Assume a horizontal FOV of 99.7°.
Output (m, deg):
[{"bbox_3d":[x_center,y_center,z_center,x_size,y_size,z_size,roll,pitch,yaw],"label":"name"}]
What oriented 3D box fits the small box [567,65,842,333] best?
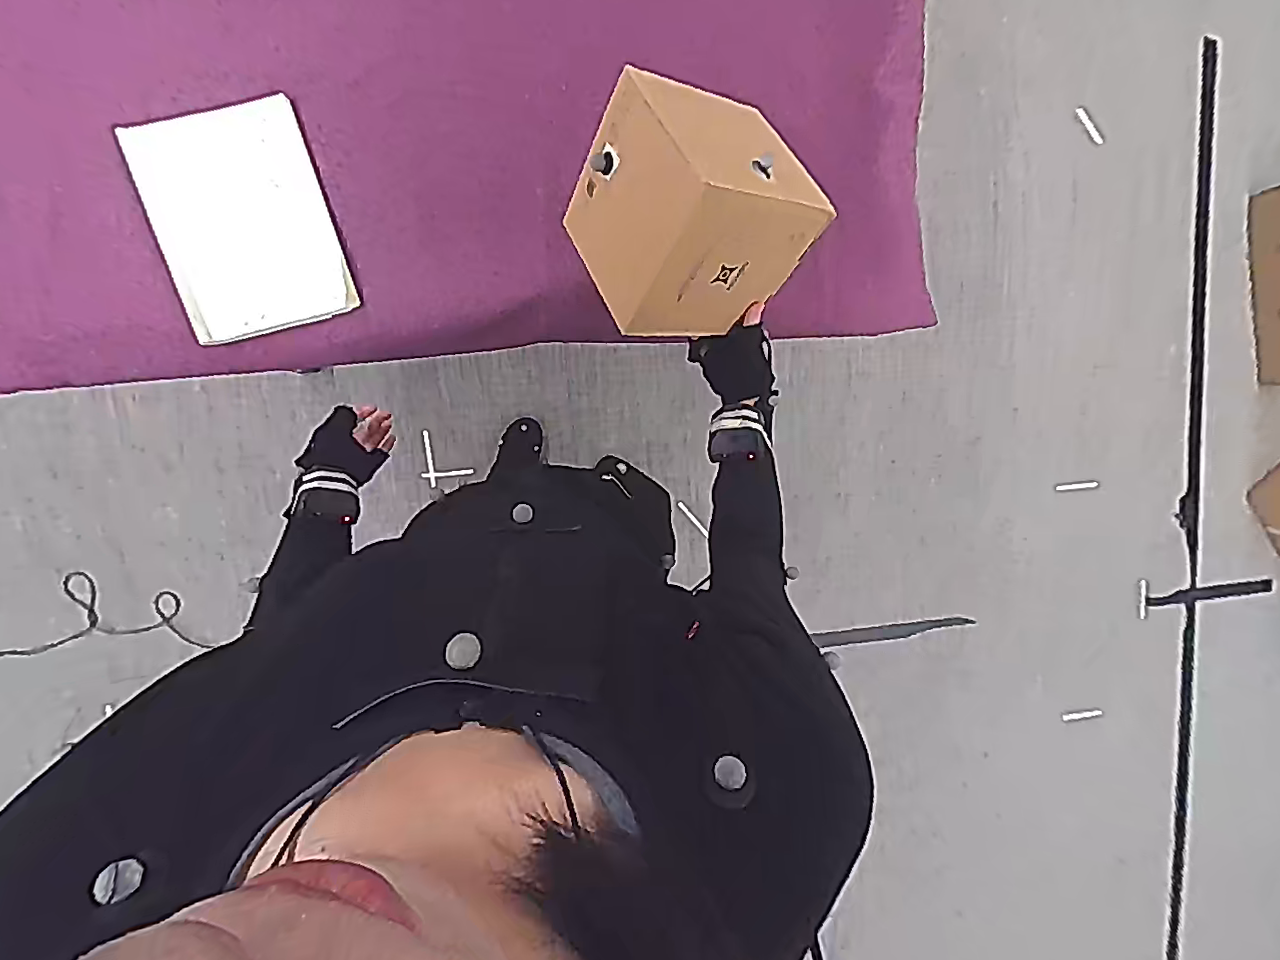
[{"bbox_3d":[0.054,-0.268,0.541,0.179,0.168,0.176,-11,64,-34],"label":"small box"}]
